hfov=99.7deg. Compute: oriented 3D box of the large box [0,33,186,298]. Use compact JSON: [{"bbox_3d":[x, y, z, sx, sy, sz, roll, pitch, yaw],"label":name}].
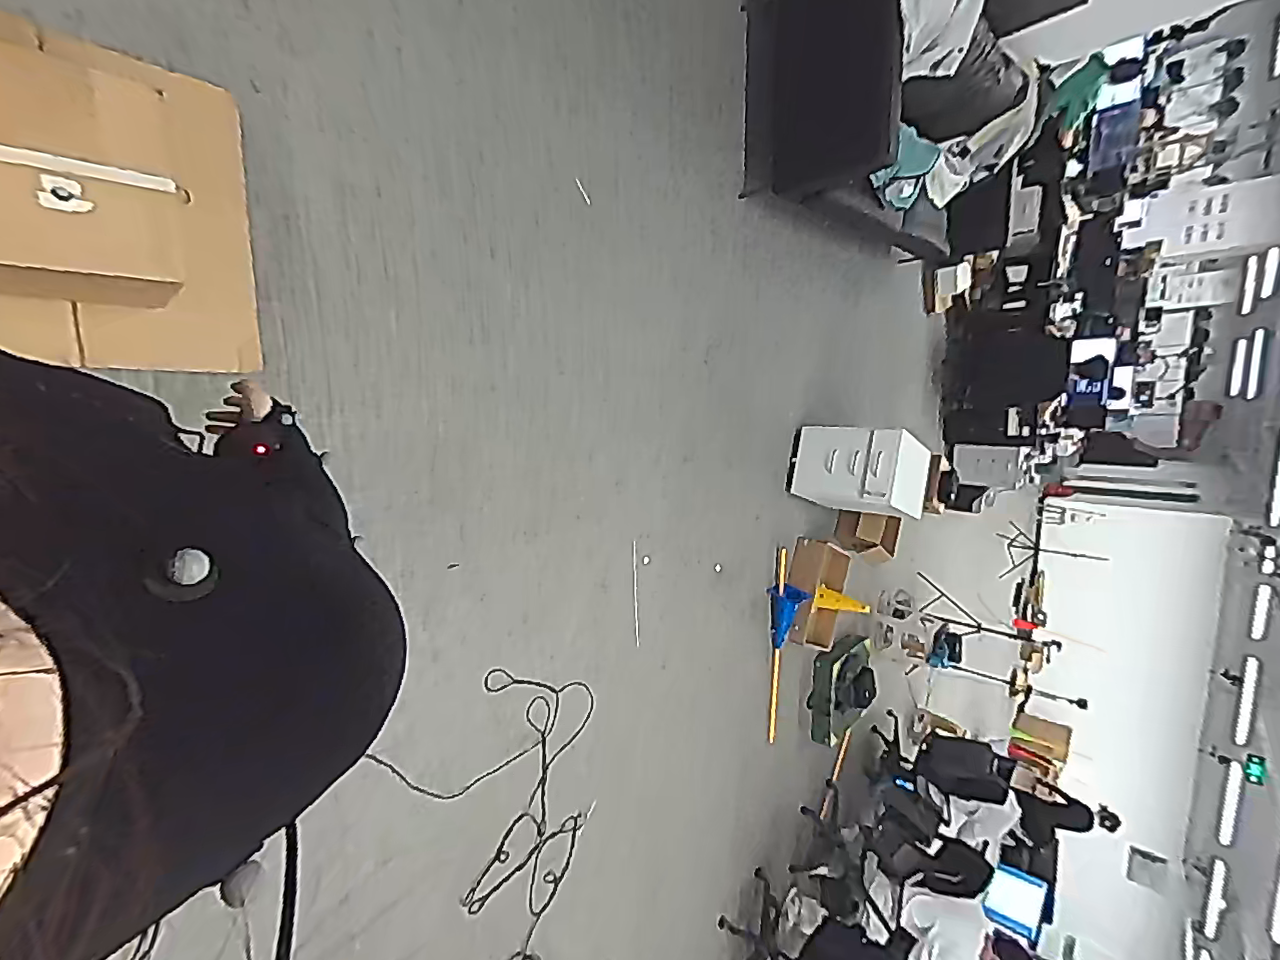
[{"bbox_3d":[-1.029,-0.488,0.861,0.408,0.320,0.320,-11,104,-47],"label":"large box"}]
